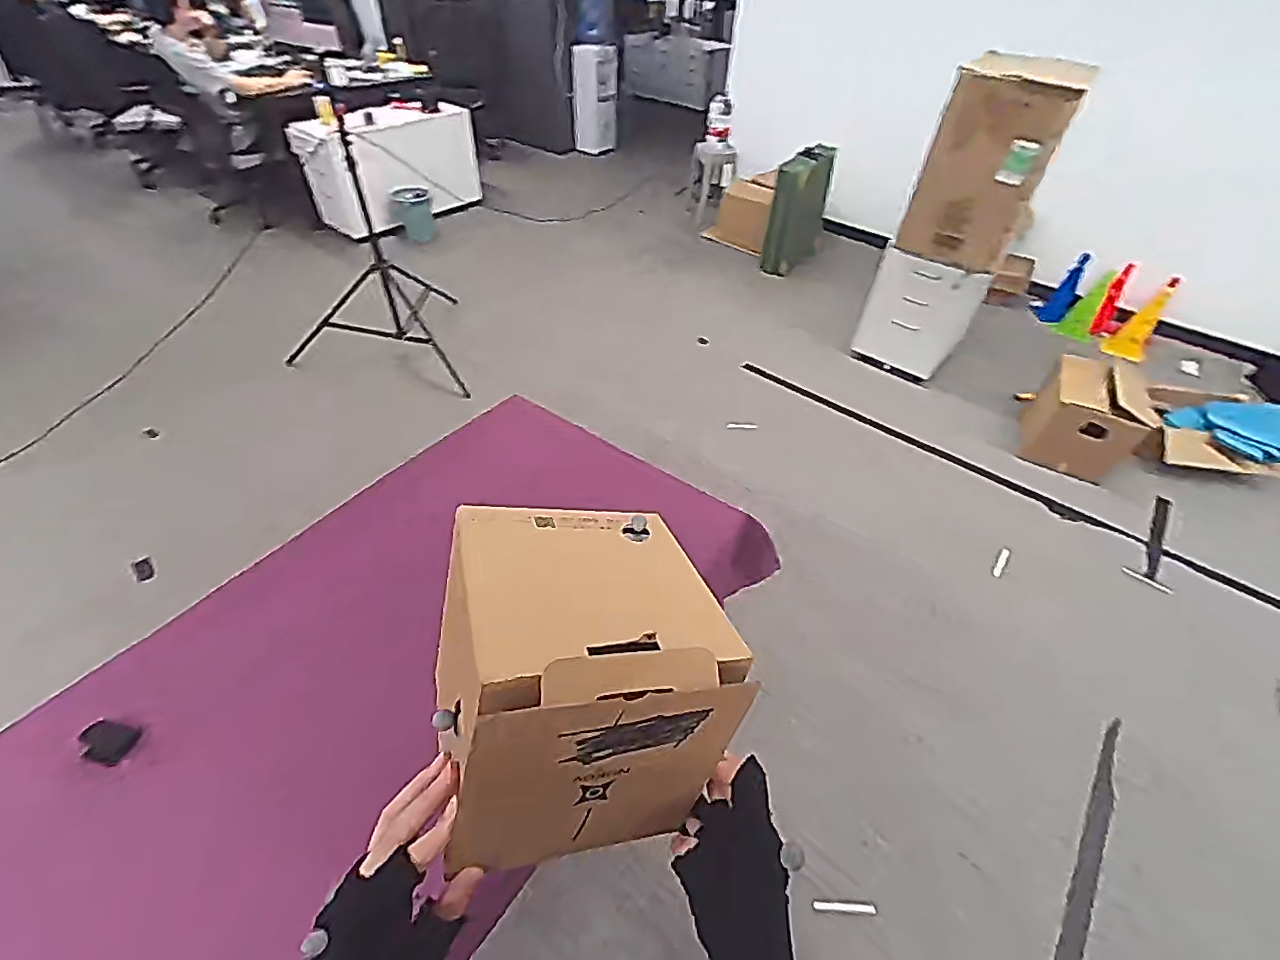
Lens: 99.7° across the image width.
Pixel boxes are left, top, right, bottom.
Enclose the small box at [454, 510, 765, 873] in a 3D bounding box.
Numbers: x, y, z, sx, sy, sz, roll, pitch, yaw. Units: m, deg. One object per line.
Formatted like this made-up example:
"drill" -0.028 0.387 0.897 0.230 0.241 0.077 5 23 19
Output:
"small box" -0.042 0.136 0.400 0.168 0.179 0.176 4 27 -23
